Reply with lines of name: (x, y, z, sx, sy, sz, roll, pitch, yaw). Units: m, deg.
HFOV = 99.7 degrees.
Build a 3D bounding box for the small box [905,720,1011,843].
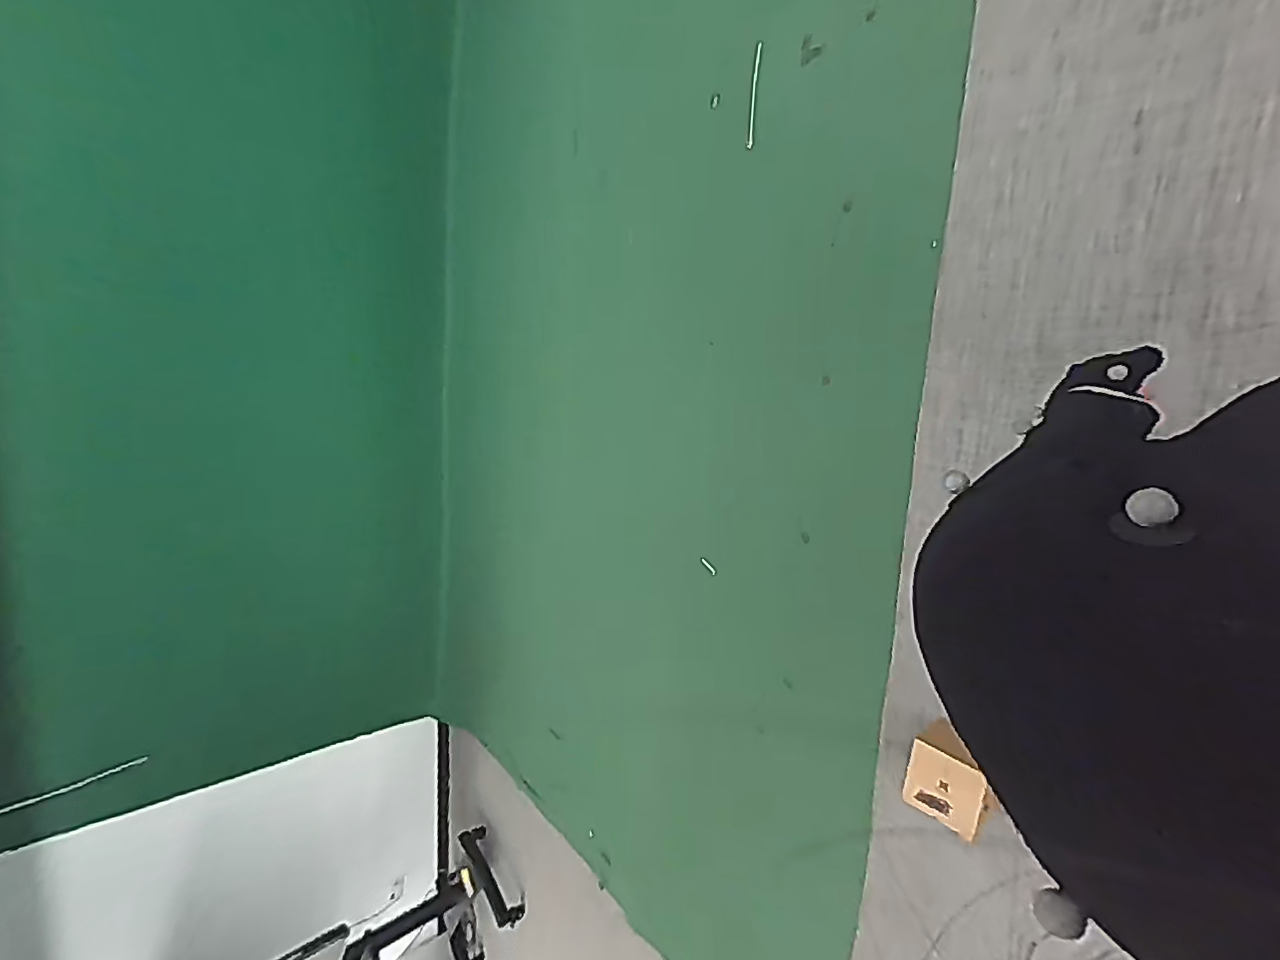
small box: (0.782, 0.728, 1.326, 0.168, 0.176, 0.179, 17, 103, 47)
